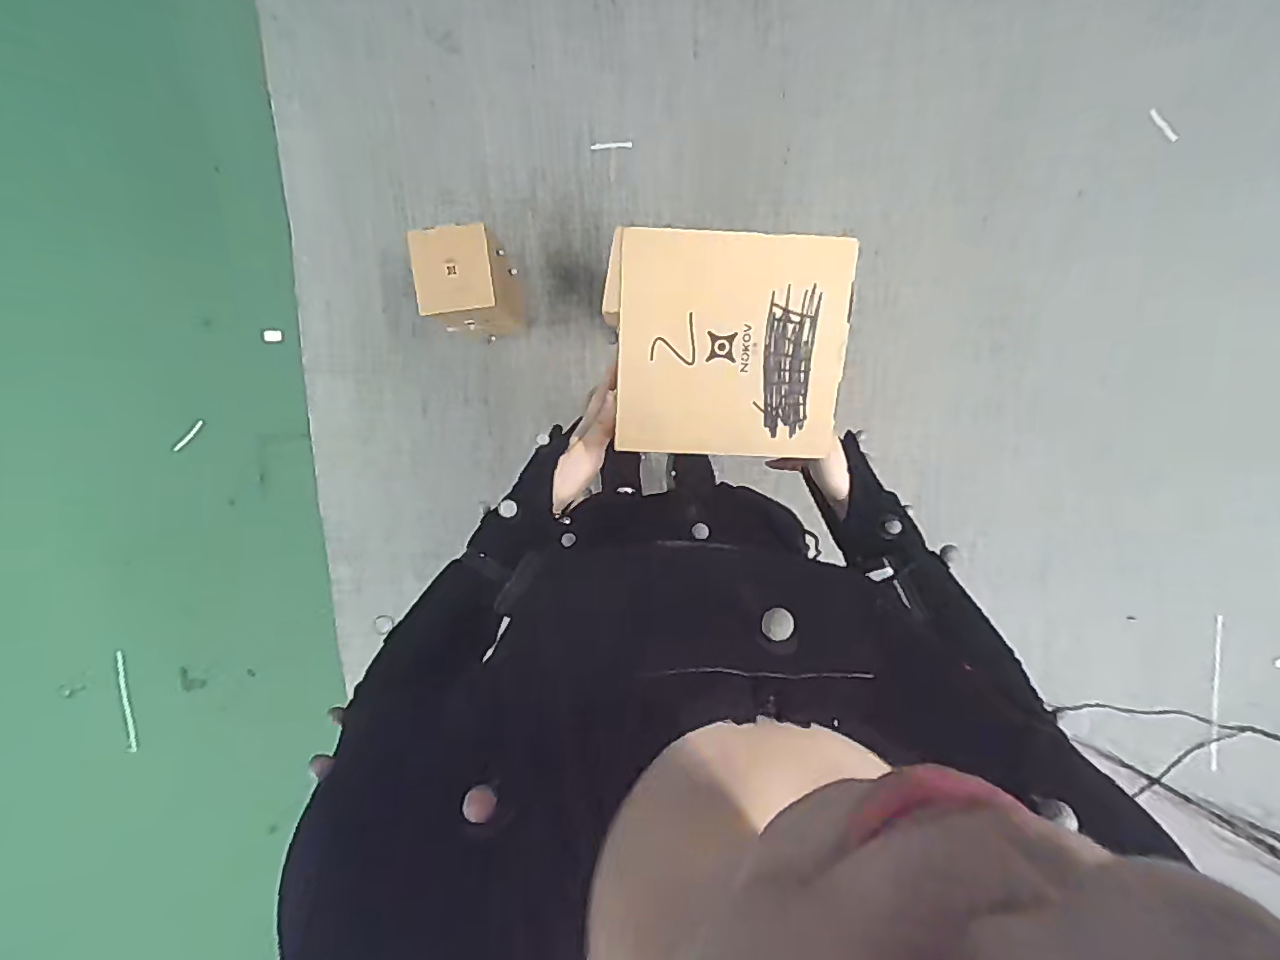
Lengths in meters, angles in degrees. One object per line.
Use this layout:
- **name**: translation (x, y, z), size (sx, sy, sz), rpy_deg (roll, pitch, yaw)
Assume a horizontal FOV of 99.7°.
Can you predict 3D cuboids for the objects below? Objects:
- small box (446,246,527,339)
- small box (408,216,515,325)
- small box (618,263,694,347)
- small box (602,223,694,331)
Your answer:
- **small box**: translation (-0.390, -0.465, 1.356), size (0.168, 0.176, 0.179), rpy_deg (-8, 96, 1)
- **small box**: translation (-0.386, -0.453, 1.194), size (0.168, 0.176, 0.179), rpy_deg (-7, 96, 2)
- **small box**: translation (0.037, -0.442, 1.354), size (0.168, 0.176, 0.179), rpy_deg (7, 97, 0)
- **small box**: translation (0.017, -0.436, 1.191), size (0.168, 0.176, 0.179), rpy_deg (11, 97, 0)
